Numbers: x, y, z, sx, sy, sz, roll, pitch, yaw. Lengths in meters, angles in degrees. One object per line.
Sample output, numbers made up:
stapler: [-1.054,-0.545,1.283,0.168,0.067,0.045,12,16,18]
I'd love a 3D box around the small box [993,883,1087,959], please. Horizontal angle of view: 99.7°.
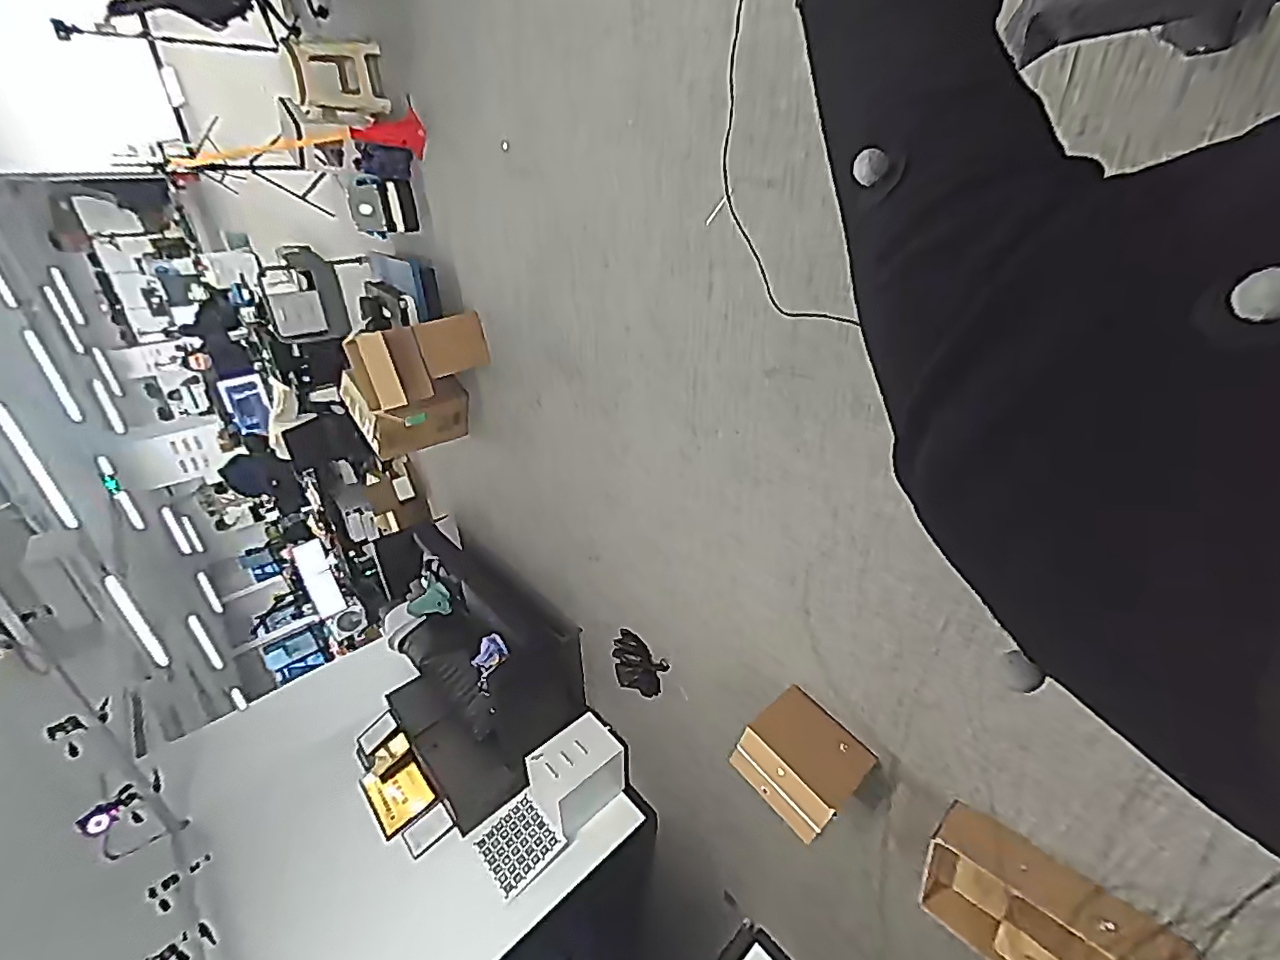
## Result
small box: [1.211,1.382,1.634,0.179,0.176,0.168,23,127,45]
